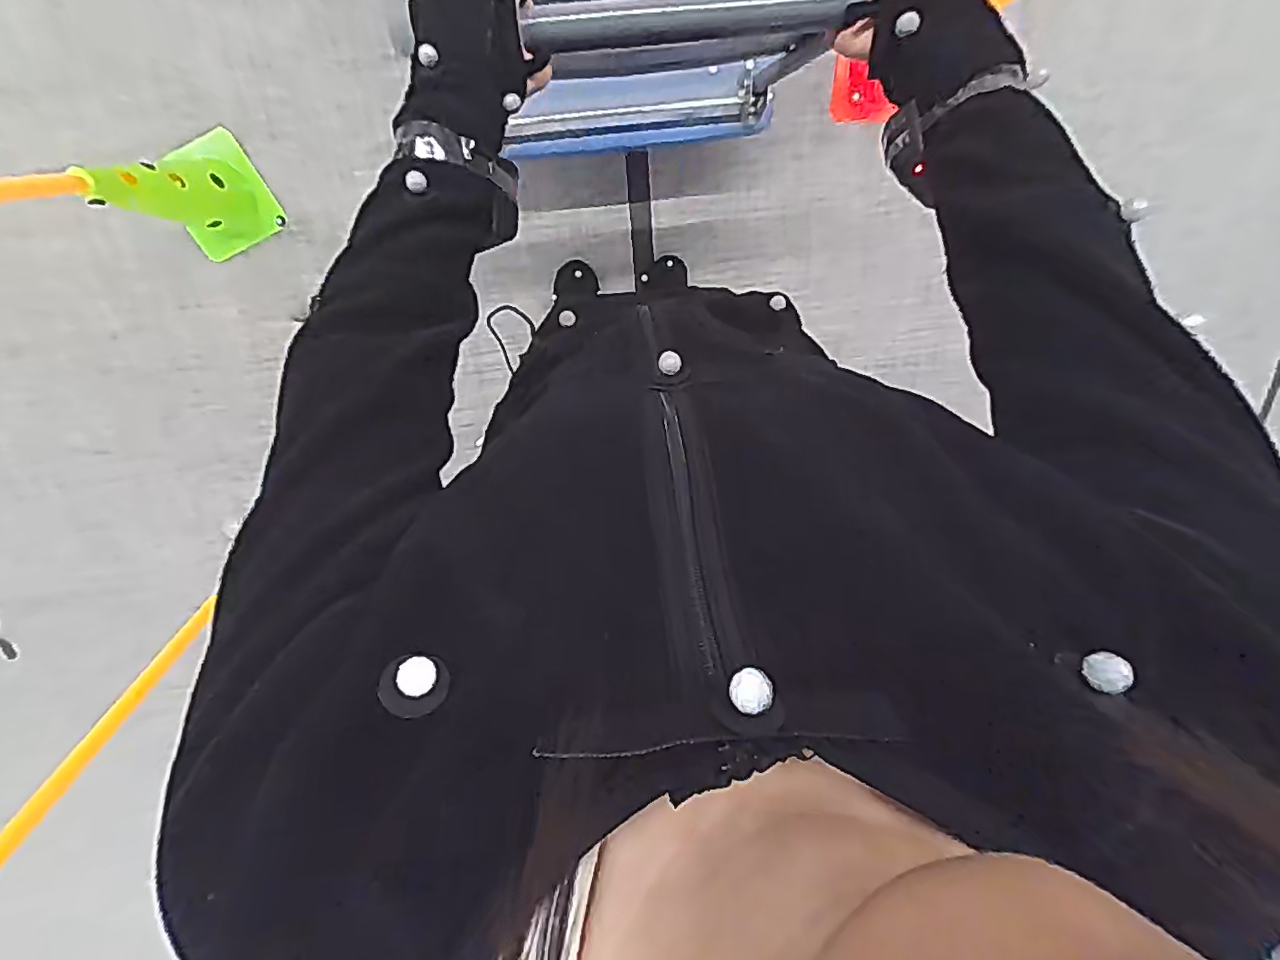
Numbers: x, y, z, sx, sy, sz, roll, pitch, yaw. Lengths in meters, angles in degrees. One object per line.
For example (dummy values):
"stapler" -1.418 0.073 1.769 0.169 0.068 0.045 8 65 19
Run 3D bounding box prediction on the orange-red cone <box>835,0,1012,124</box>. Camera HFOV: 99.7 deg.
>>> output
"orange-red cone" 0.545 -0.813 1.003 0.199 0.360 0.198 -1 115 -7
